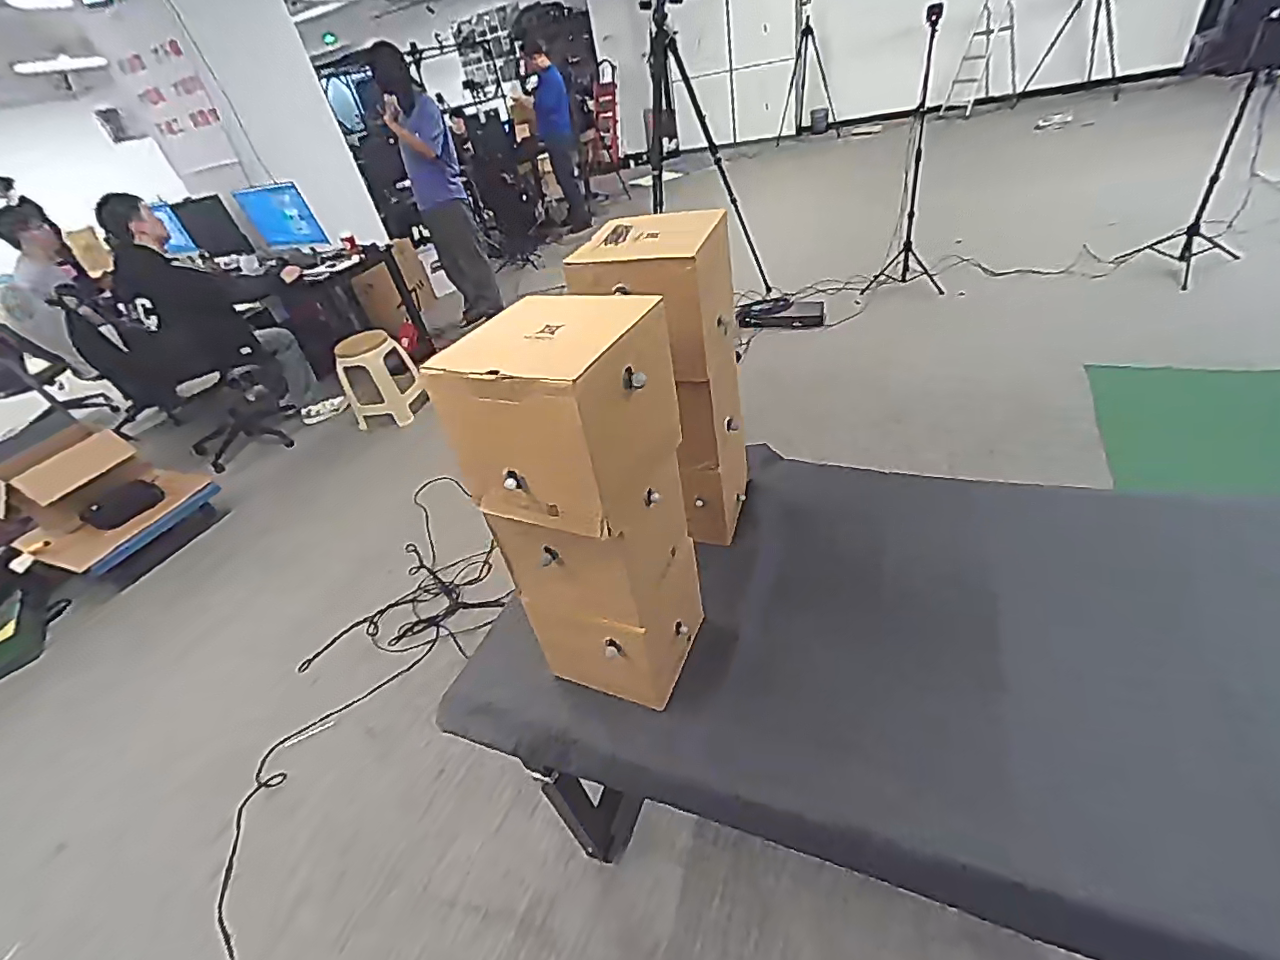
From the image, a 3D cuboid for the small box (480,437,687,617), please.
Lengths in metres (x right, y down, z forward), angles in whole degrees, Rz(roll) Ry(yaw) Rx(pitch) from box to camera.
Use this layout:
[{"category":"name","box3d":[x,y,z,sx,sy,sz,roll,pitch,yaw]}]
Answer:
[{"category":"small box","box3d":[-0.055,0.043,0.656,0.179,0.176,0.168,5,40,22]}]

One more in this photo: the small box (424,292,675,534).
[{"category":"small box","box3d":[-0.072,-0.074,0.543,0.168,0.176,0.179,10,42,25]}]

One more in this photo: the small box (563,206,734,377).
[{"category":"small box","box3d":[0.024,-0.255,0.742,0.179,0.176,0.168,6,44,22]}]

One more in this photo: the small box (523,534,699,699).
[{"category":"small box","box3d":[-0.026,0.174,0.750,0.179,0.176,0.168,9,41,25]}]

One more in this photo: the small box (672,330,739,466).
[{"category":"small box","box3d":[0.053,-0.137,0.854,0.179,0.176,0.168,5,44,20]}]
